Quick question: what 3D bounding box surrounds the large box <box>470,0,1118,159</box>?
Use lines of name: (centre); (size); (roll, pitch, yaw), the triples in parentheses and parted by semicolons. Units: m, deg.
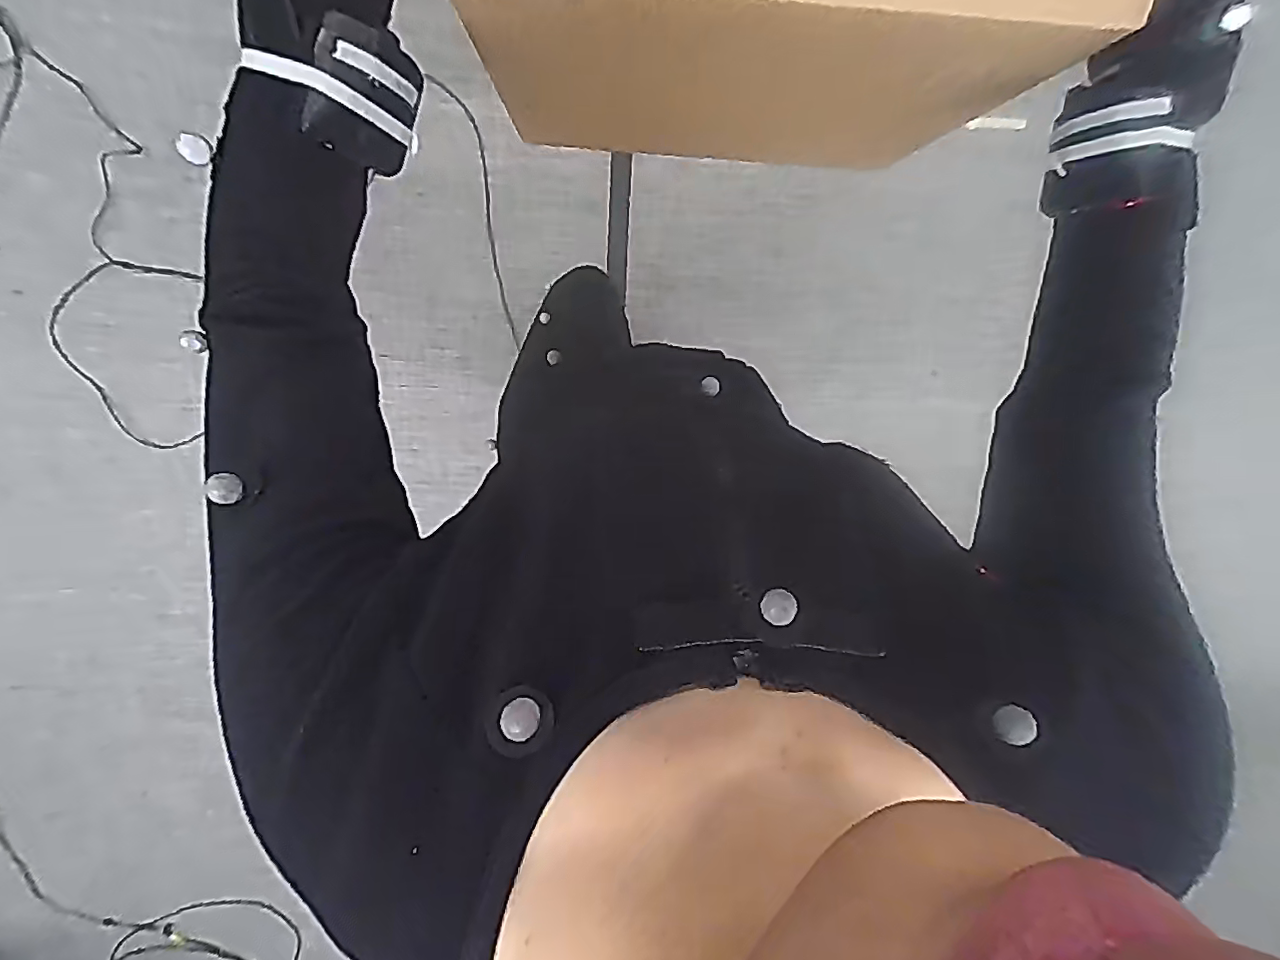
large box: (0.085, -0.468, 0.415); (0.408, 0.320, 0.320); (1, 107, -4)
